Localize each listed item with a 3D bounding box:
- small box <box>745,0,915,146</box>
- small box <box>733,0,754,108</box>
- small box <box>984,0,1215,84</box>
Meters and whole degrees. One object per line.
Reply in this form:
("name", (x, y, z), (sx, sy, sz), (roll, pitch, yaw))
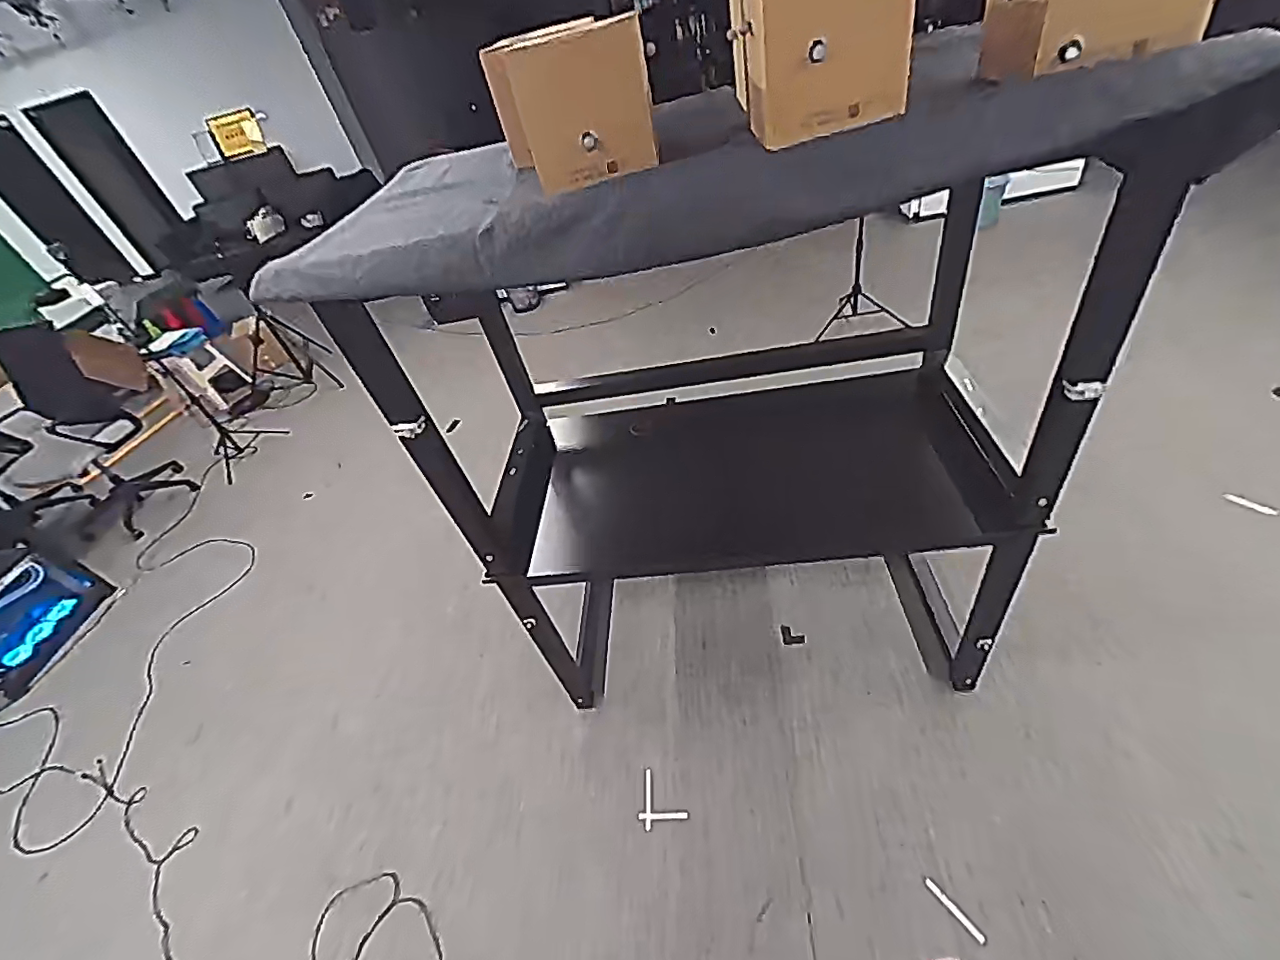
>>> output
("small box", (0.229, -0.534, 0.669), (0.168, 0.176, 0.179), (-8, 40, 9))
("small box", (0.241, -0.723, 0.872), (0.168, 0.176, 0.179), (-8, 42, 9))
("small box", (0.522, -0.572, 0.613), (0.168, 0.176, 0.179), (-6, 39, 12))
